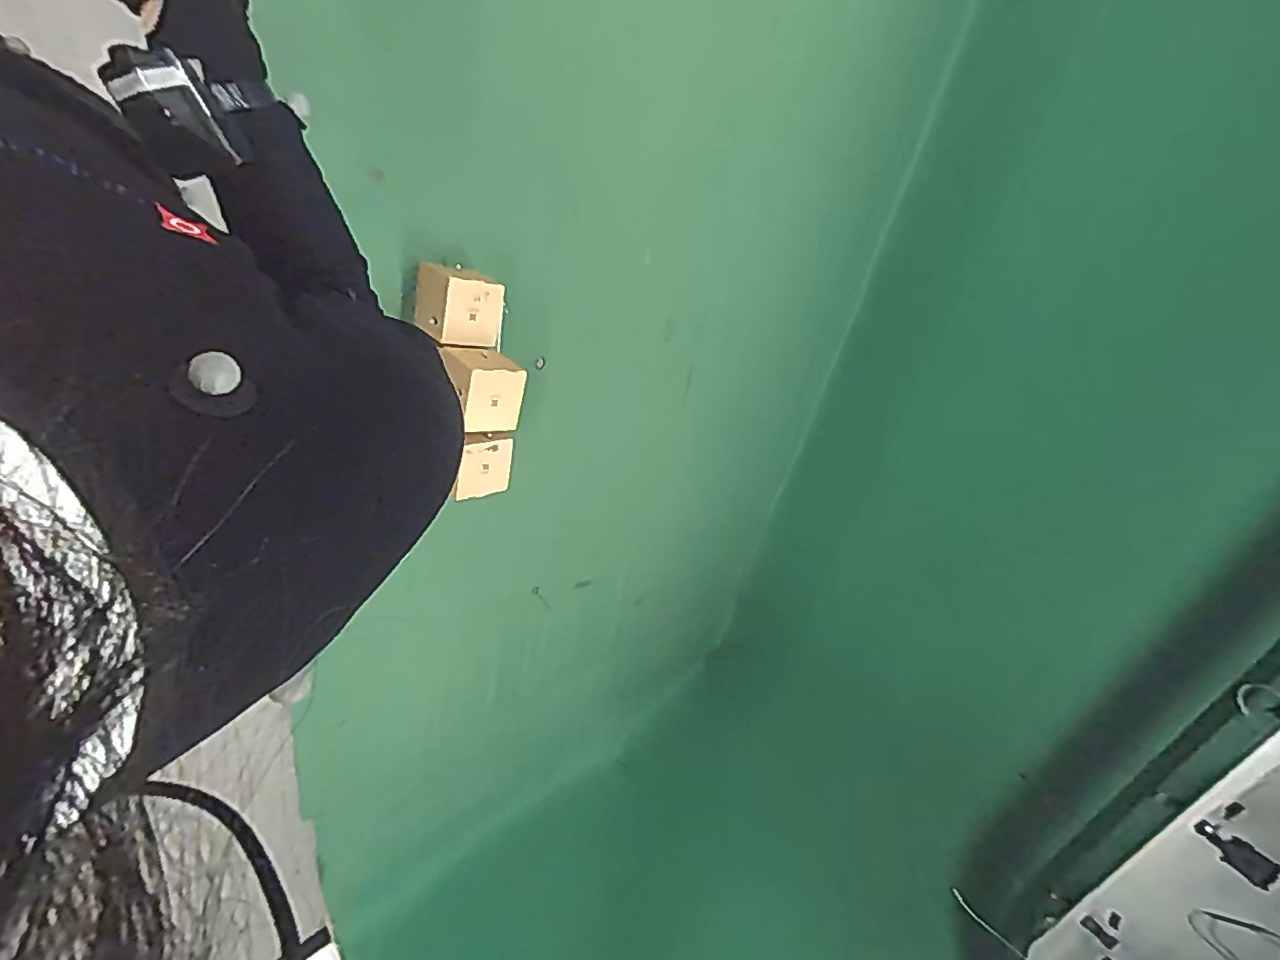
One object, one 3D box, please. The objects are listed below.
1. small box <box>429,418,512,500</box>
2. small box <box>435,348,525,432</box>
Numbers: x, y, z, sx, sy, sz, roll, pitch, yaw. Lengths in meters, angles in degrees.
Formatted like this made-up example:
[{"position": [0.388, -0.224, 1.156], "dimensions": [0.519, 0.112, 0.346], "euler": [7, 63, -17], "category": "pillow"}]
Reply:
[{"position": [-0.496, -0.068, 1.565], "dimensions": [0.168, 0.176, 0.179], "euler": [-14, 129, -44], "category": "small box"}, {"position": [-0.445, -0.245, 1.483], "dimensions": [0.168, 0.176, 0.179], "euler": [-8, 123, -46], "category": "small box"}]
